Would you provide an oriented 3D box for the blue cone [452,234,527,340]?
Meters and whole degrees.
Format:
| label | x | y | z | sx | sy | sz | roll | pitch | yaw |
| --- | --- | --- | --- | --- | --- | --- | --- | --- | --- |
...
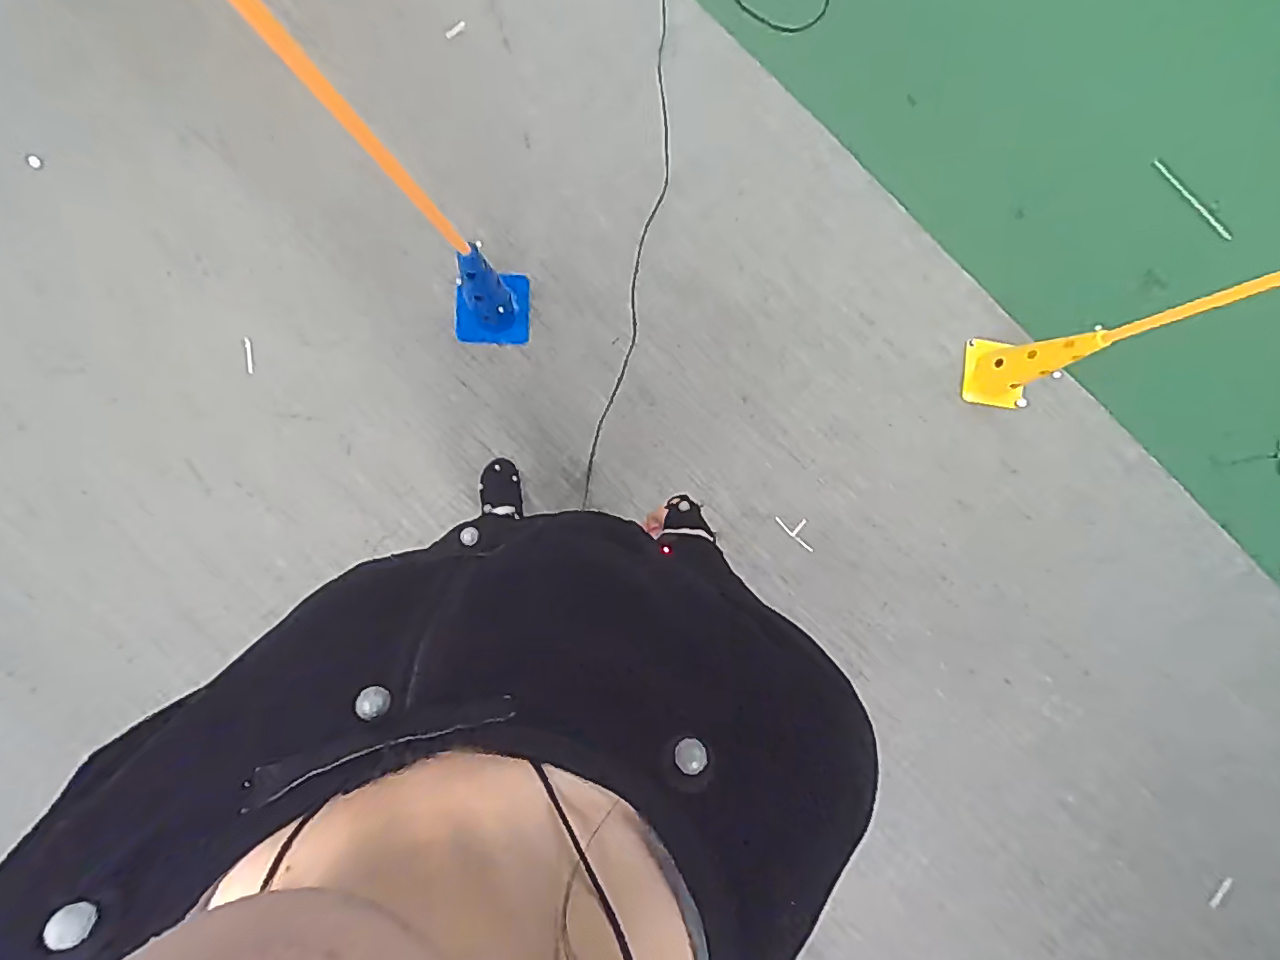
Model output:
| label | x | y | z | sx | sy | sz | roll | pitch | yaw |
| --- | --- | --- | --- | --- | --- | --- | --- | --- | --- |
| blue cone | -0.393 | -0.483 | 1.321 | 0.193 | 0.380 | 0.192 | -1 | 88 | -5 |
